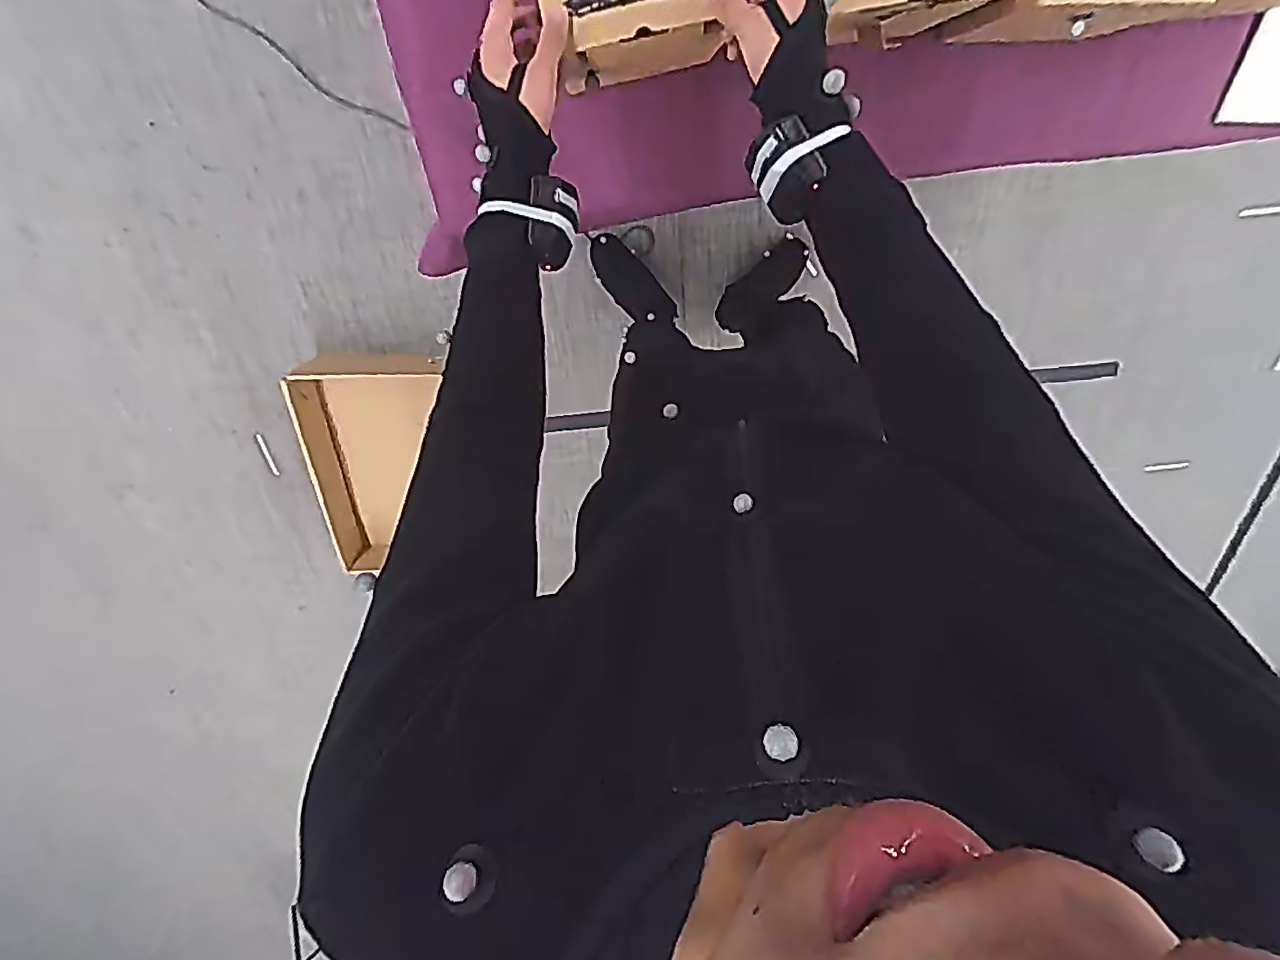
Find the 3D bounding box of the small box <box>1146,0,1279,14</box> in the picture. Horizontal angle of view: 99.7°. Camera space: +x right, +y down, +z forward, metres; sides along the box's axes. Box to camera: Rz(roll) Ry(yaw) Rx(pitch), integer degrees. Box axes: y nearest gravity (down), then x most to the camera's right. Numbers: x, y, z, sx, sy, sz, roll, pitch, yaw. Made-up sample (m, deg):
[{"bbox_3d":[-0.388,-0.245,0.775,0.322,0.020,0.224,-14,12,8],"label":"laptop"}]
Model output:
[{"bbox_3d":[0.647,-0.578,0.519,0.168,0.176,0.179,-6,119,-2],"label":"small box"}]
